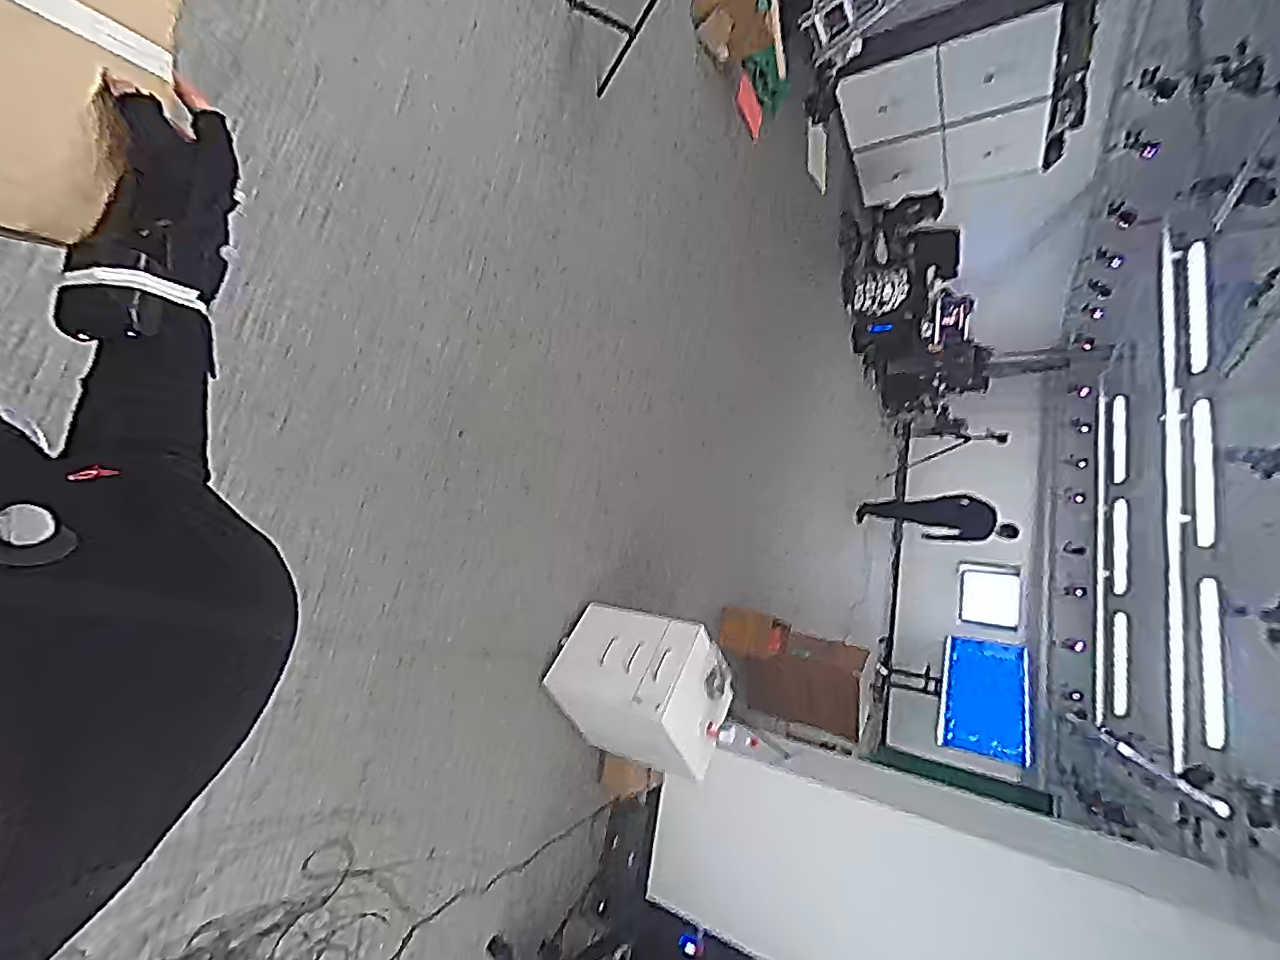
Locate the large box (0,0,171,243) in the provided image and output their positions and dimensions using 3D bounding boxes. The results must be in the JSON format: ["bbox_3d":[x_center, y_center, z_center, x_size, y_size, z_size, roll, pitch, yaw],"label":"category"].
[{"bbox_3d":[-0.611,-0.380,0.334,0.408,0.320,0.320,-3,109,-62],"label":"large box"}]
